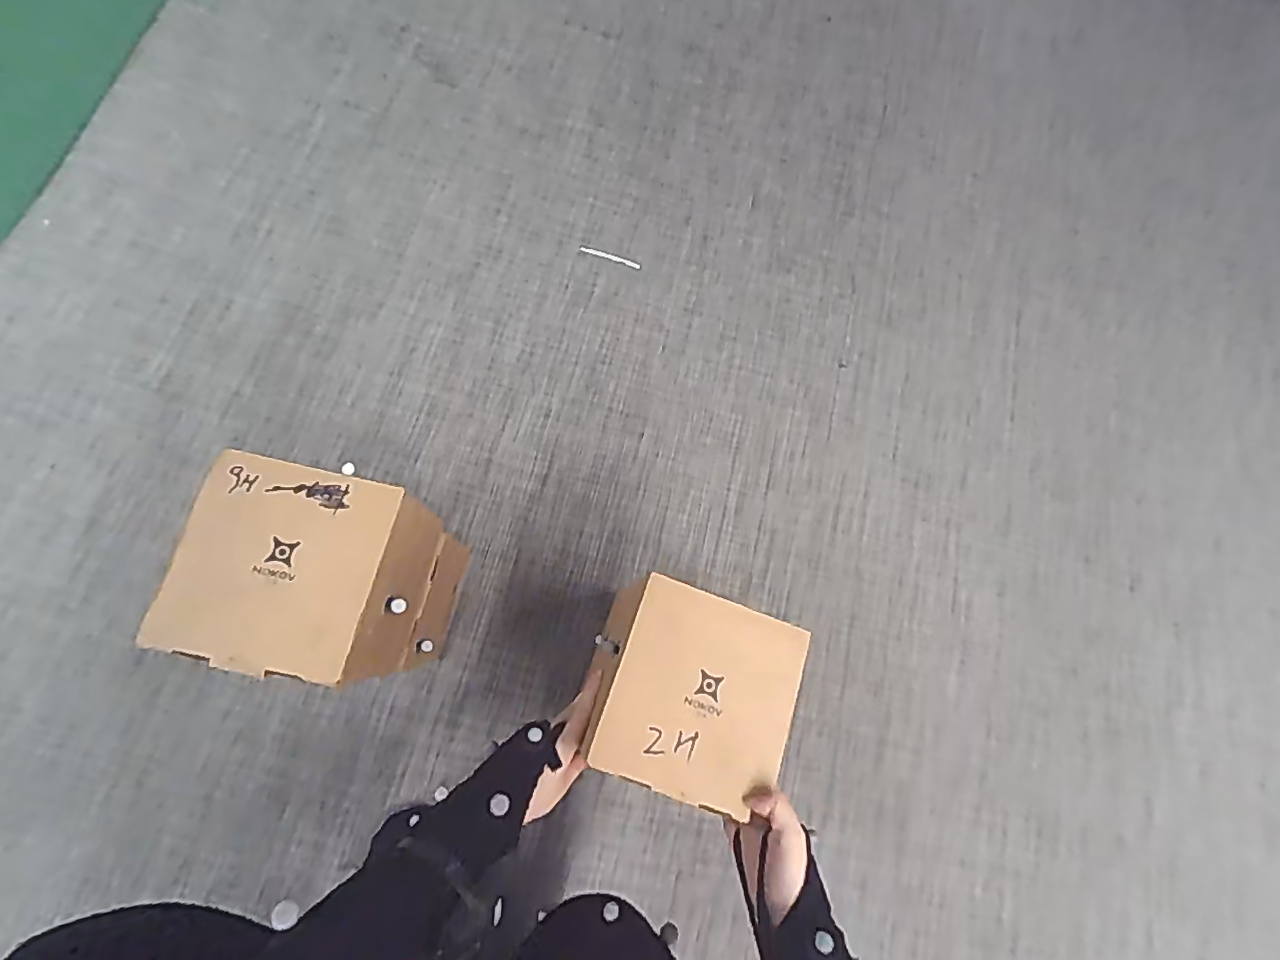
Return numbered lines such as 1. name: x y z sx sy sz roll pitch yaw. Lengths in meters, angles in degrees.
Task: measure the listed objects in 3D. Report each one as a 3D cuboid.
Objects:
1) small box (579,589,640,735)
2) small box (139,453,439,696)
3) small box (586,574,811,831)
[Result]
1. small box: 0.023 0.258 0.717 0.168 0.176 0.179 22 74 -3
2. small box: -0.315 0.095 0.535 0.168 0.176 0.179 14 75 -5
3. small box: 0.048 0.216 0.558 0.168 0.176 0.179 21 71 -2
